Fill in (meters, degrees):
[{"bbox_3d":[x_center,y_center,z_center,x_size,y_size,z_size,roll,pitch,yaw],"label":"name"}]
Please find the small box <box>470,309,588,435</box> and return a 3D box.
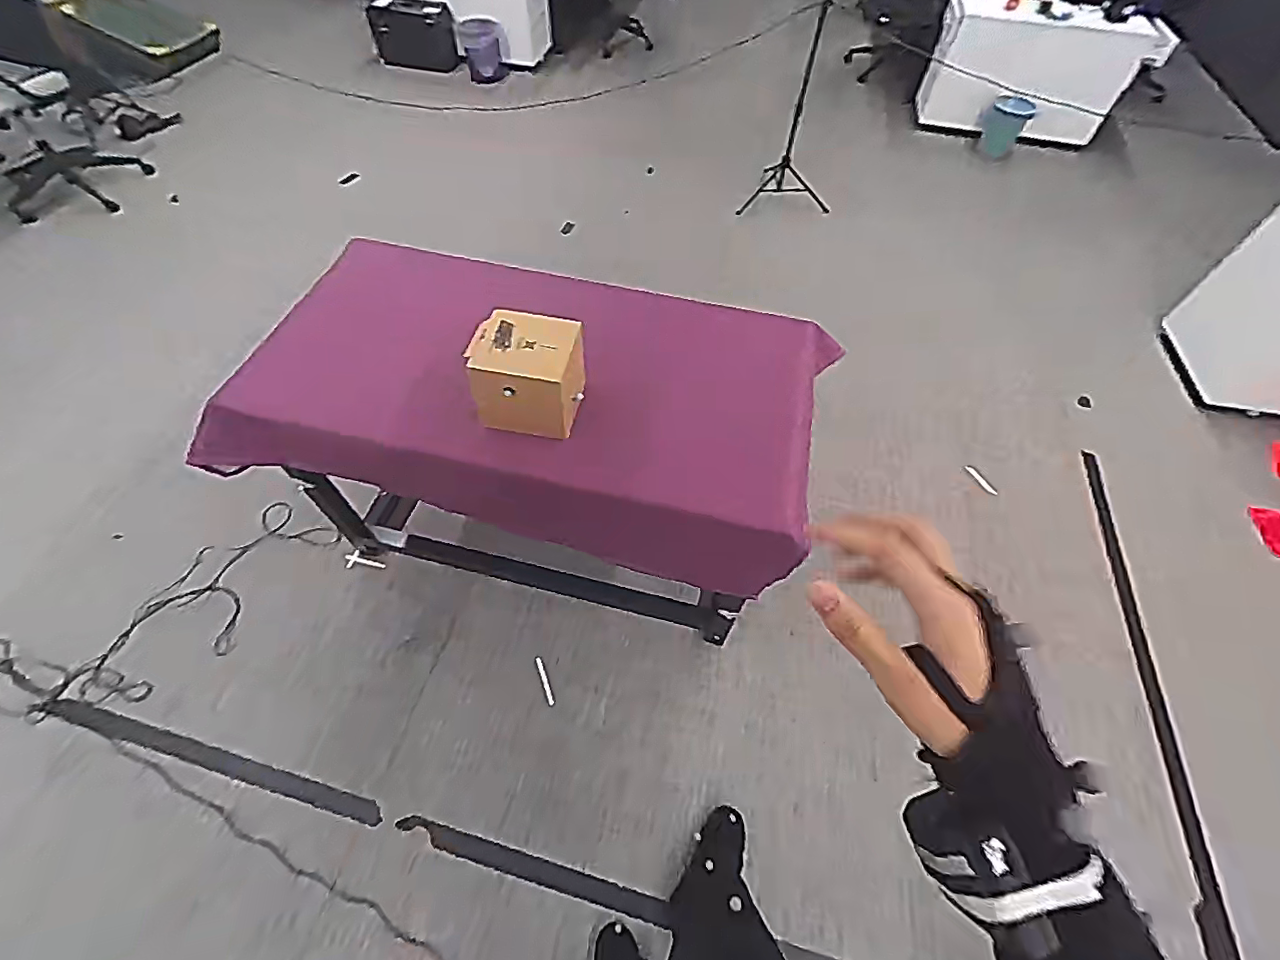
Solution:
[{"bbox_3d":[-0.208,-0.208,1.066,0.179,0.176,0.168,10,56,4],"label":"small box"}]
